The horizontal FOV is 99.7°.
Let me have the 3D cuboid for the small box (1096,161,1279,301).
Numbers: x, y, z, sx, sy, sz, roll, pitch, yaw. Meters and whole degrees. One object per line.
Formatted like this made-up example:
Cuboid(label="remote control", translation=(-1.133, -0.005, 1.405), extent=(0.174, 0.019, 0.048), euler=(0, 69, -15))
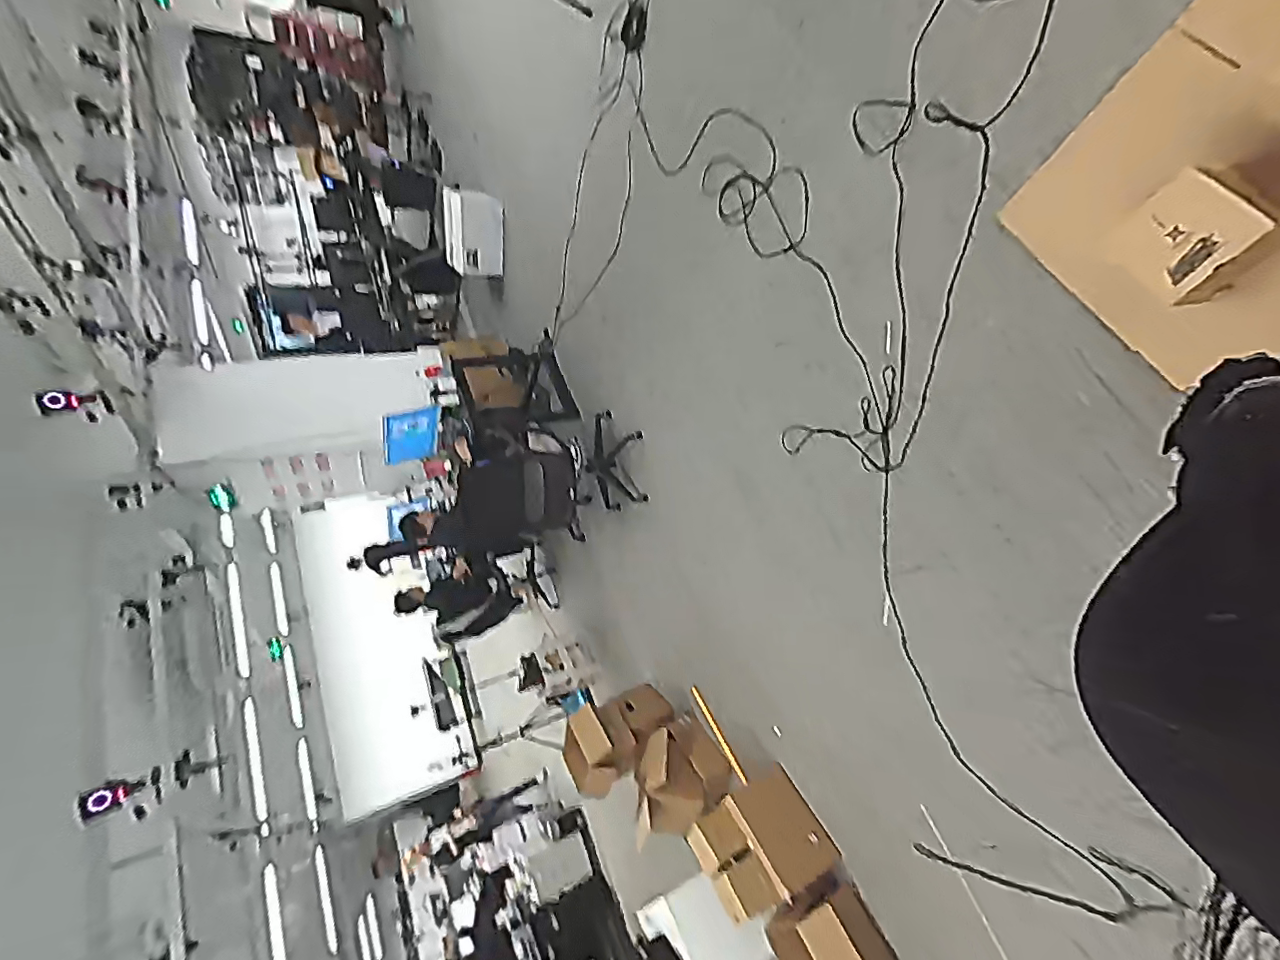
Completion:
Cuboid(label="small box", translation=(1.017, -0.454, 0.994), extent=(0.179, 0.176, 0.168), euler=(63, 148, 25))
